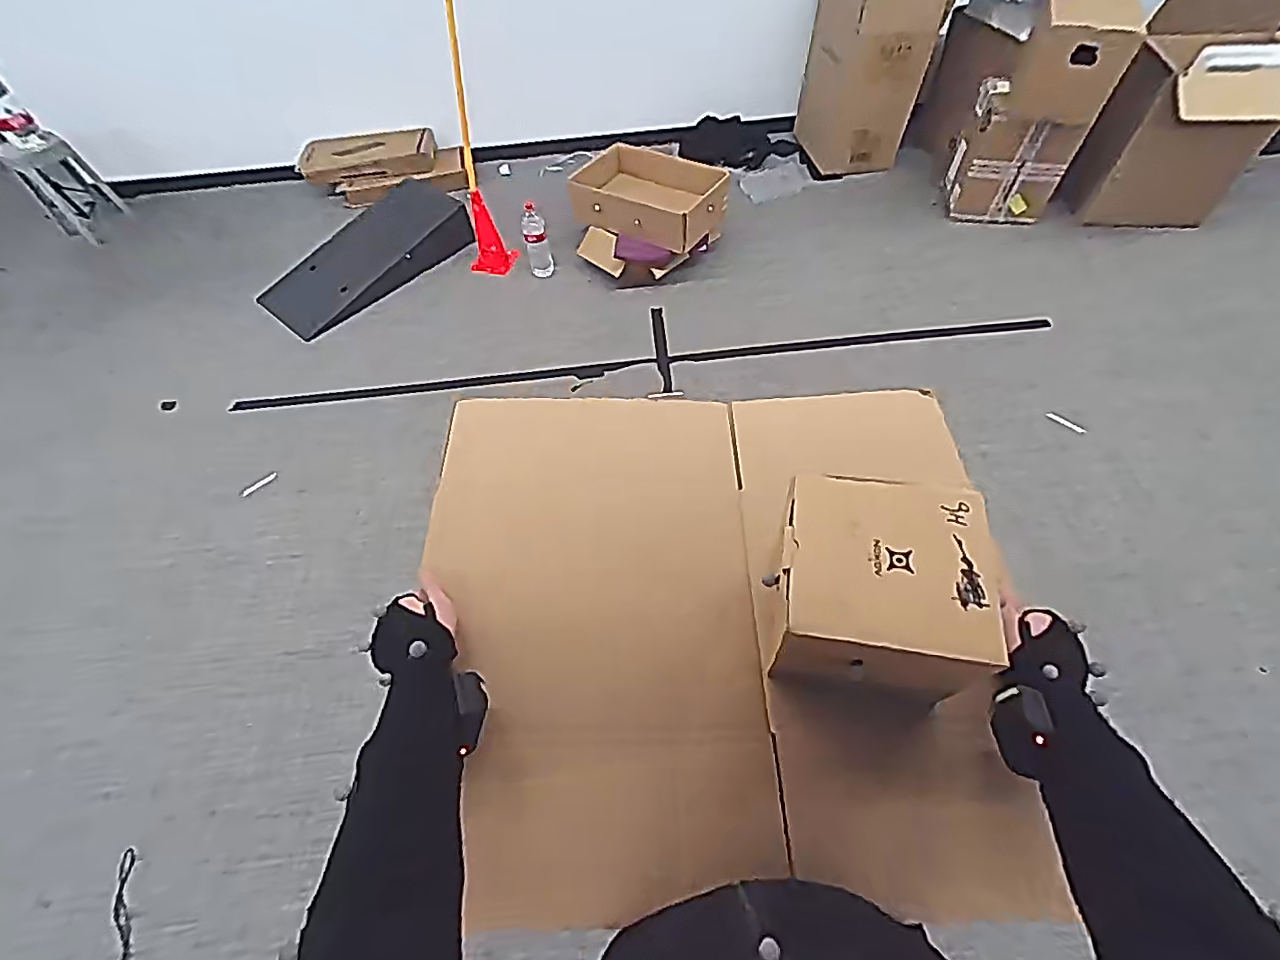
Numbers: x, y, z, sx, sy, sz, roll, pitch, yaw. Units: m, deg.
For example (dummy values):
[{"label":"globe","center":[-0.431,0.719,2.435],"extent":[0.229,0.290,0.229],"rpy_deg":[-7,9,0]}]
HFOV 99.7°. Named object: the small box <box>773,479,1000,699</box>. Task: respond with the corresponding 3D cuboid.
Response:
[{"label":"small box","center":[0.235,0.117,0.563],"extent":[0.179,0.176,0.168],"rpy_deg":[6,59,12]}]
